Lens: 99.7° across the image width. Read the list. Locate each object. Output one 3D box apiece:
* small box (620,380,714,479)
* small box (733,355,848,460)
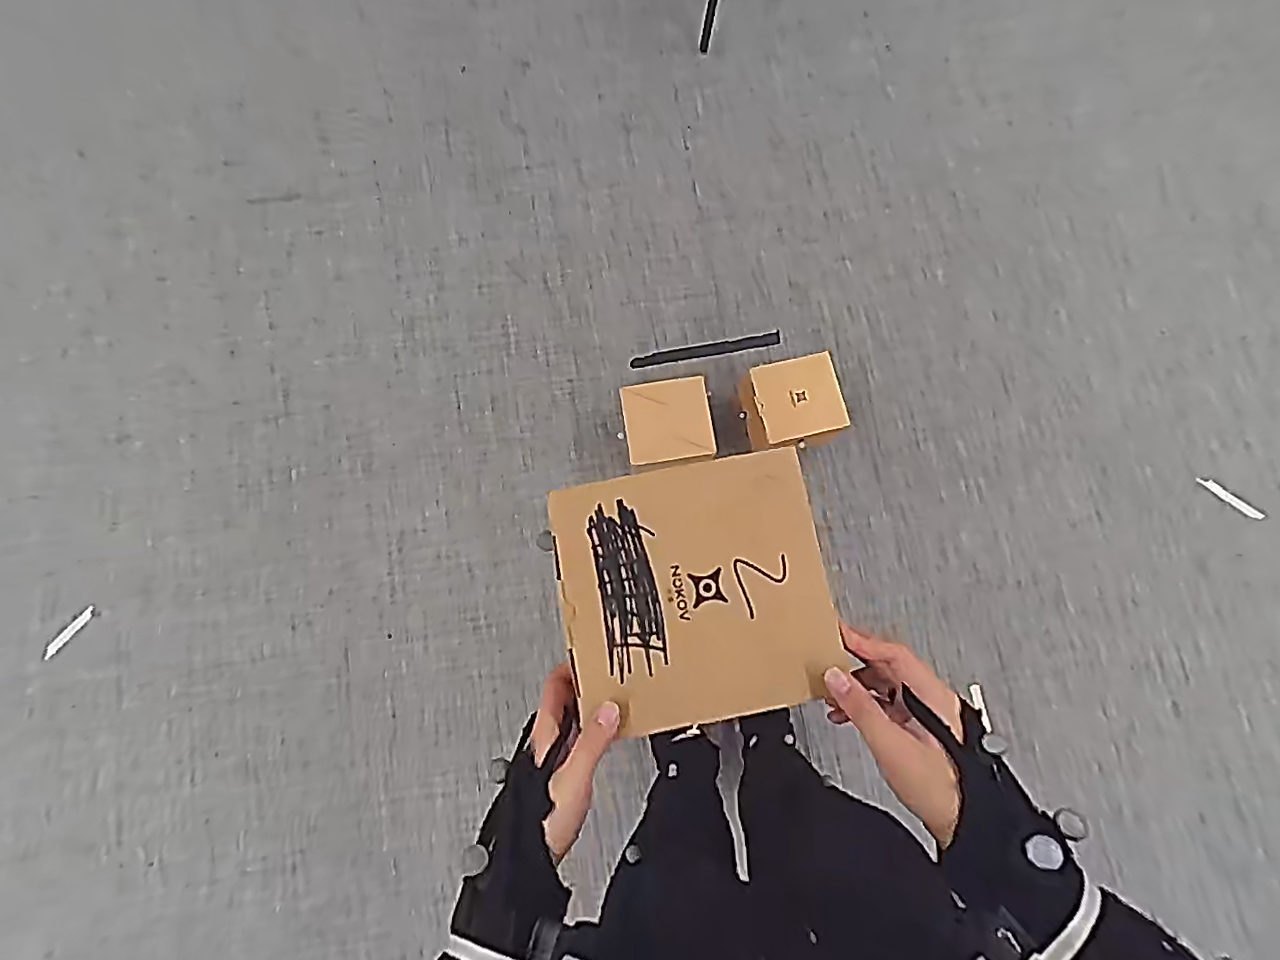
[{"bbox_3d":[0.055,-0.106,1.169,0.179,0.176,0.168,-8,81,-3],"label":"small box"},{"bbox_3d":[0.320,-0.152,1.184,0.179,0.176,0.168,-14,81,-3],"label":"small box"}]
